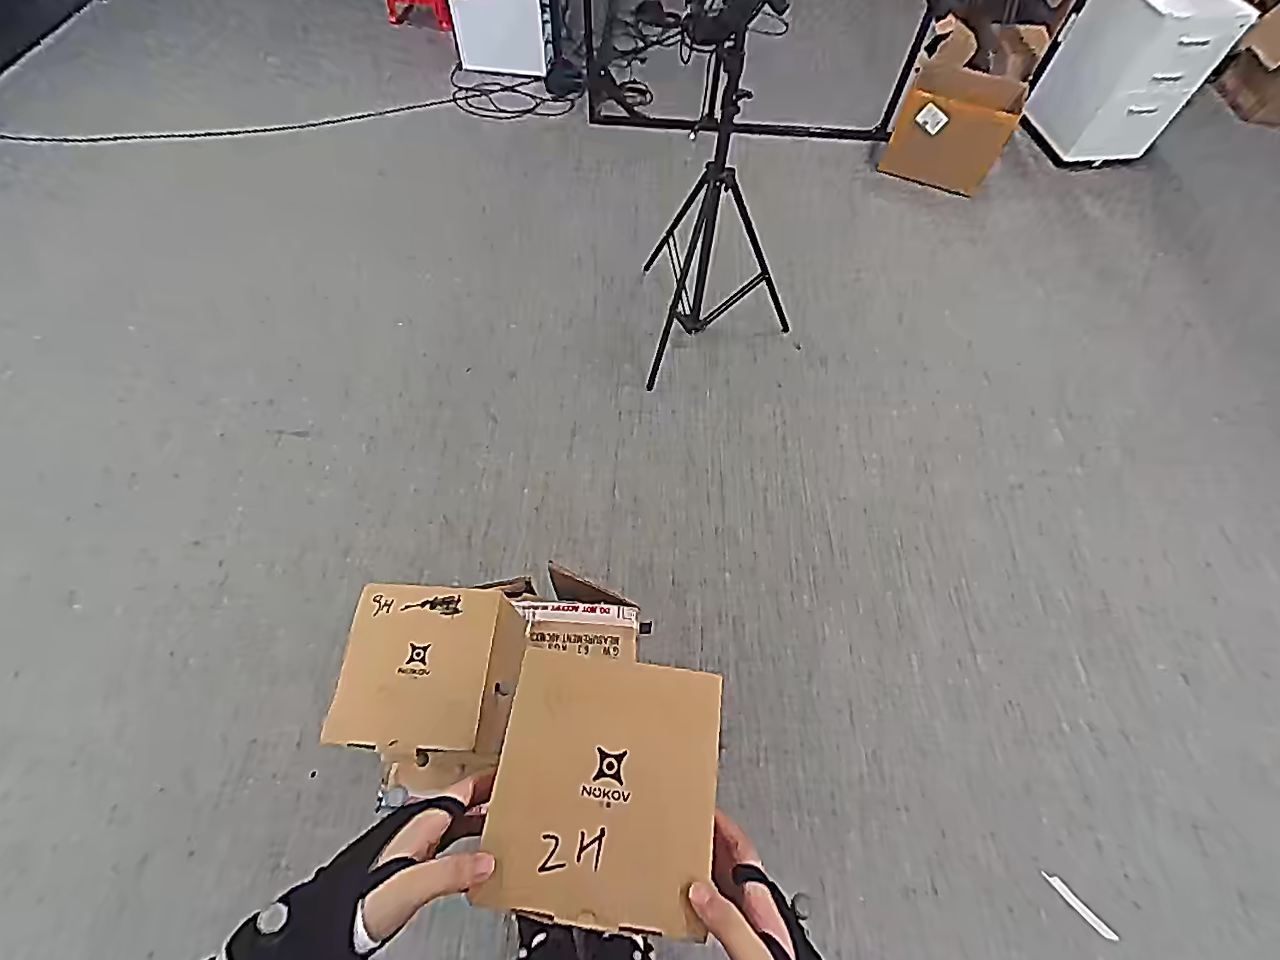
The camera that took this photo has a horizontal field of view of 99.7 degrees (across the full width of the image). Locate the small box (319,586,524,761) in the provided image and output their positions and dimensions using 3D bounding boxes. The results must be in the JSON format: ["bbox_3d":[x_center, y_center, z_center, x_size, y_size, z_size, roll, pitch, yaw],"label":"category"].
[{"bbox_3d":[-0.248,0.241,0.665,0.168,0.176,0.179,3,63,1],"label":"small box"}]

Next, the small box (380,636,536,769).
[{"bbox_3d":[-0.254,0.328,0.805,0.168,0.176,0.179,1,63,0],"label":"small box"}]
